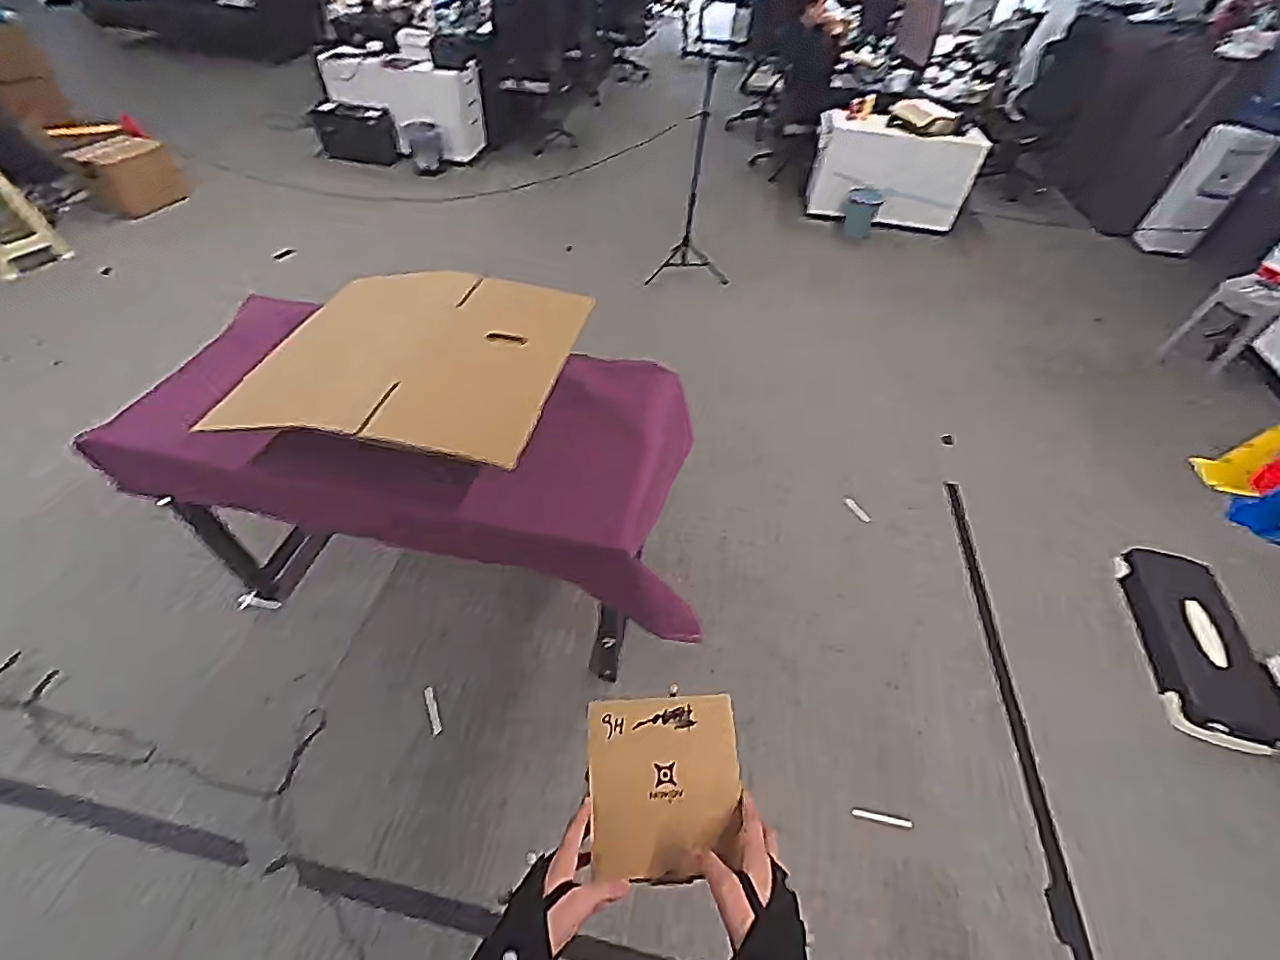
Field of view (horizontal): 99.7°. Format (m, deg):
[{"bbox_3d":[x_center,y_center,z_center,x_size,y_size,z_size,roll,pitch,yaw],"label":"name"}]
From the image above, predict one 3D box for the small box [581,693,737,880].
[{"bbox_3d":[0.019,0.359,0.663,0.168,0.176,0.179,-3,67,-1],"label":"small box"}]
